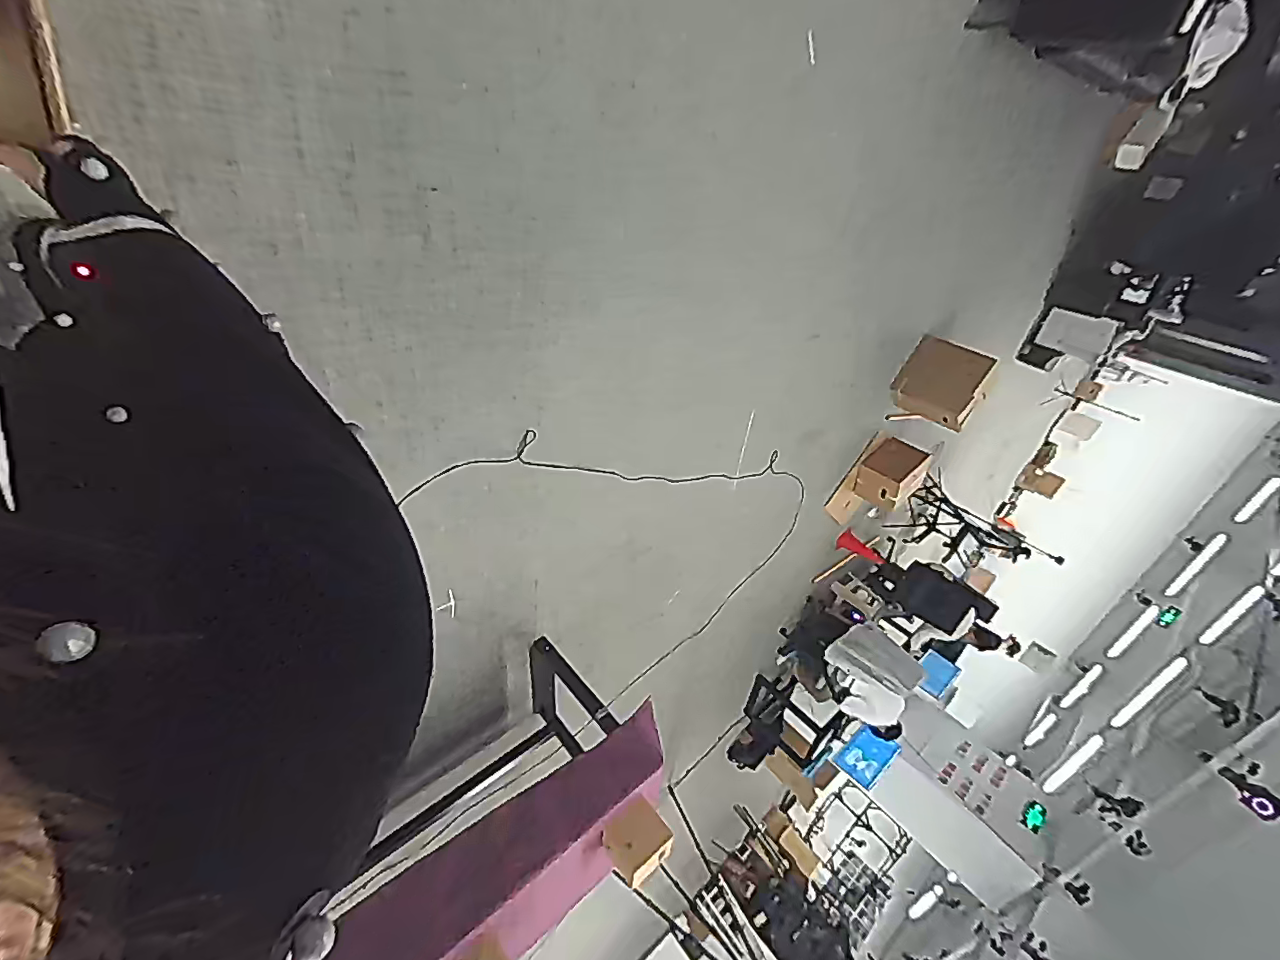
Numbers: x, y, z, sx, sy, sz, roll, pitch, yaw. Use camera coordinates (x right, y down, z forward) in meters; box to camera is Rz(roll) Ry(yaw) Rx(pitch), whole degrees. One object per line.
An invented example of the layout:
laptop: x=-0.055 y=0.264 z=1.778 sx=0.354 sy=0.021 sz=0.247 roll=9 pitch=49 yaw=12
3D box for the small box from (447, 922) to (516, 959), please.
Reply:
small box: x=-0.444 y=1.423 z=1.545 sx=0.168 sy=0.176 sz=0.179 roll=-23 pitch=135 yaw=-37
